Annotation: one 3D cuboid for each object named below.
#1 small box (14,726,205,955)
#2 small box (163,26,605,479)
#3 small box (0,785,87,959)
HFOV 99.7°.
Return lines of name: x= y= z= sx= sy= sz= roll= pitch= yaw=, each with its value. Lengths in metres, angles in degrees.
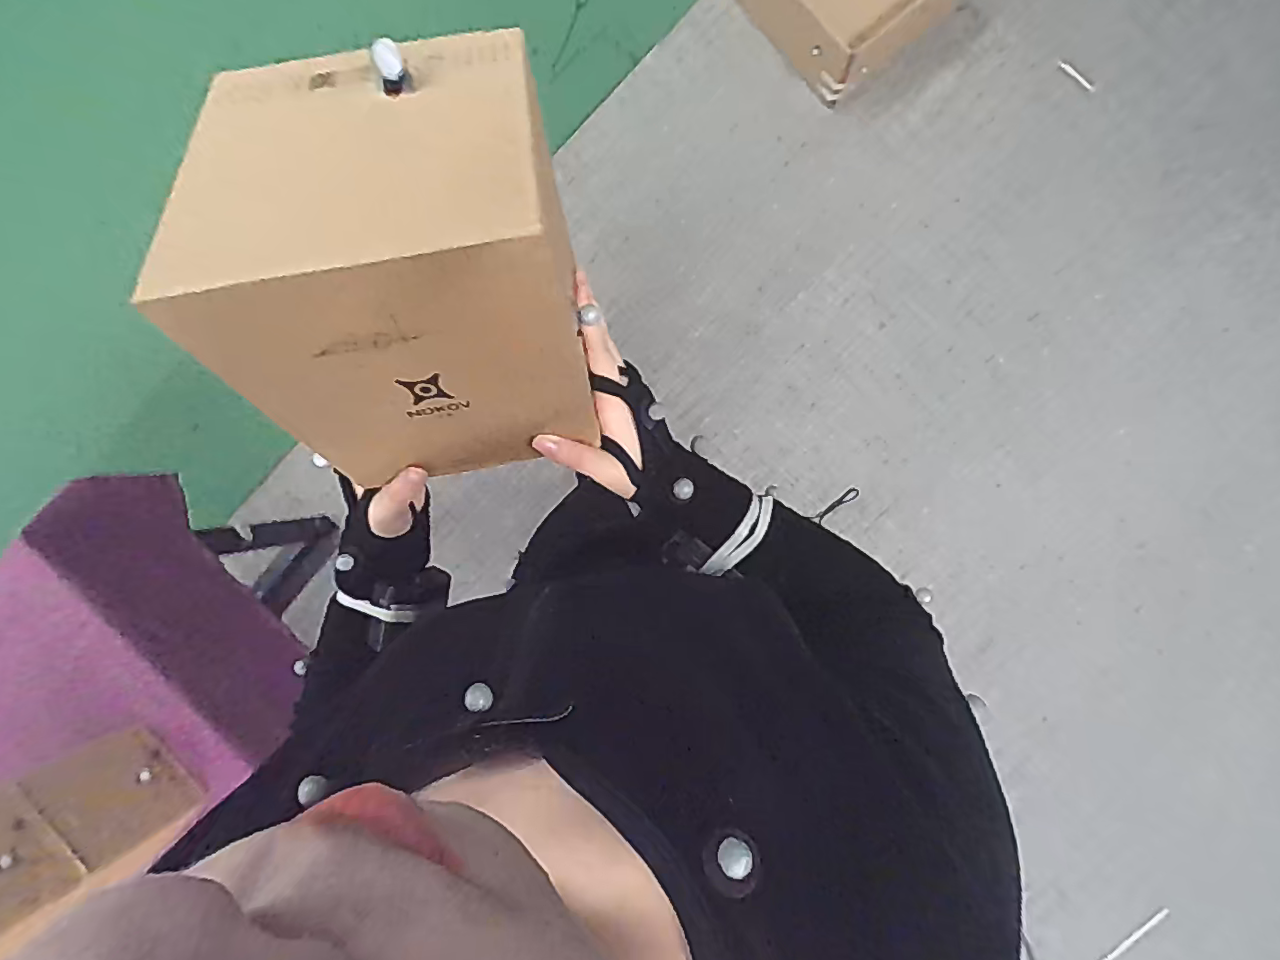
small box: x=-0.796 y=0.503 z=0.781 sx=0.168 sy=0.176 sz=0.179 roll=44 pitch=95 yaw=3
small box: x=-0.116 y=-0.121 z=0.326 sx=0.168 sy=0.179 sz=0.176 roll=-9 pitch=63 yaw=-1
small box: x=-0.816 y=0.505 z=0.620 sx=0.168 sy=0.176 sz=0.179 roll=44 pitch=94 yaw=4
